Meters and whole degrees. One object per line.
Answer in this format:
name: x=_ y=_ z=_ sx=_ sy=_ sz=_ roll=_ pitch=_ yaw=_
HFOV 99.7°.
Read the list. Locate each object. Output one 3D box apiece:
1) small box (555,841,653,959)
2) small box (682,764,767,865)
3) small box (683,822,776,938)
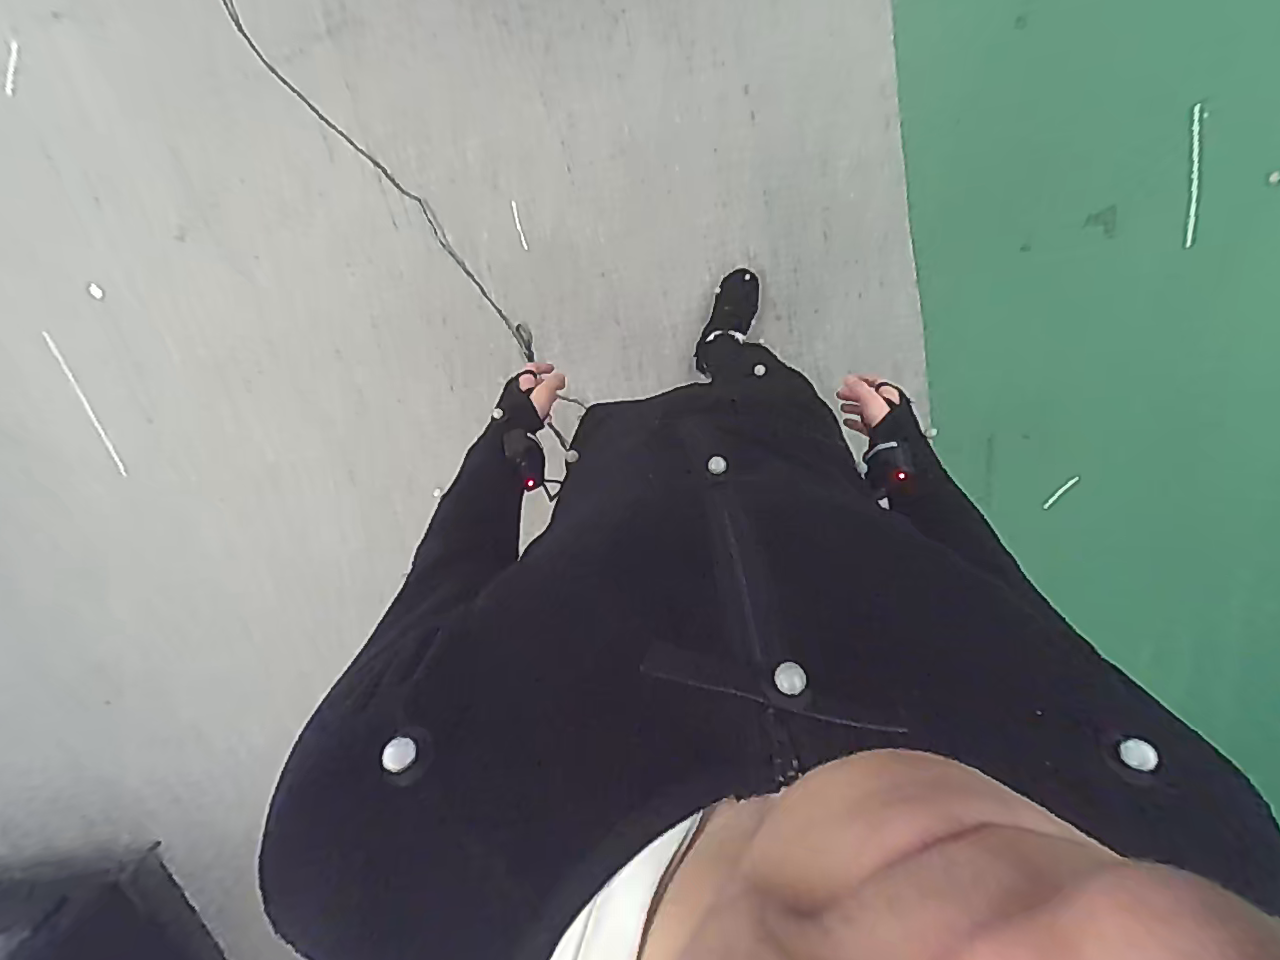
small box: x=-0.076 y=0.978 z=1.258 sx=0.168 sy=0.176 sz=0.179 roll=-21 pitch=105 yaw=11
small box: x=0.207 y=0.854 z=1.374 sx=0.168 sy=0.176 sz=0.179 roll=-18 pitch=106 yaw=9
small box: x=0.195 y=0.905 z=1.218 sx=0.168 sy=0.176 sz=0.179 roll=-14 pitch=107 yaw=8
